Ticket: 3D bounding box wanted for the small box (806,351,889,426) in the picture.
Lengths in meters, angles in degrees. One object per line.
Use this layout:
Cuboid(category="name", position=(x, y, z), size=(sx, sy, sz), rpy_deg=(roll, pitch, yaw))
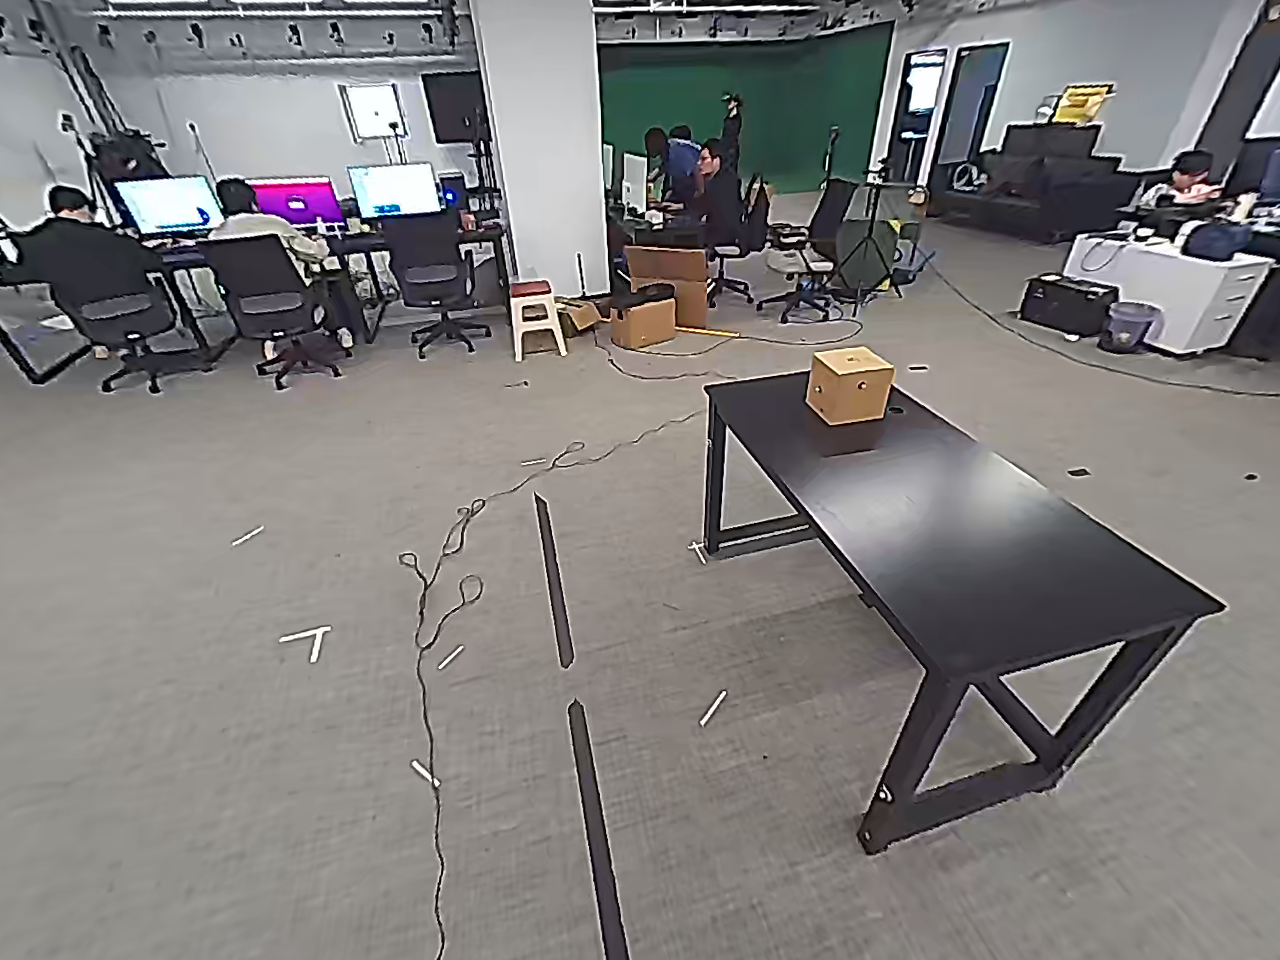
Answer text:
Cuboid(category="small box", position=(0.622, -0.278, 1.649), size=(0.179, 0.176, 0.168), rpy_deg=(-9, 35, -8))
